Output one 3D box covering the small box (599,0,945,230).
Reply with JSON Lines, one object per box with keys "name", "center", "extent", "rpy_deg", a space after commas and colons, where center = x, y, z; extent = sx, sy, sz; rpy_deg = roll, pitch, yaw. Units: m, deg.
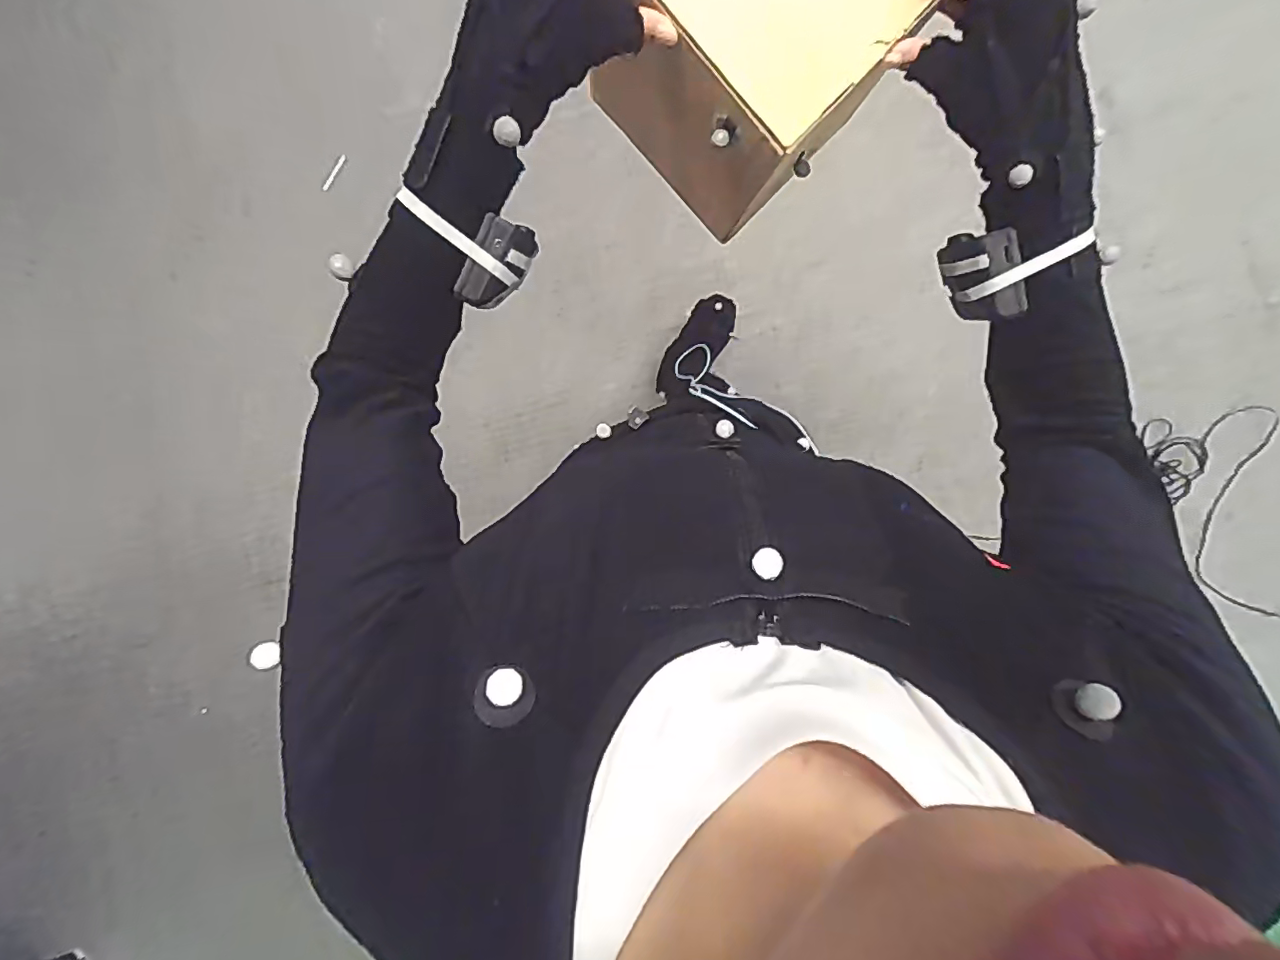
{"name": "small box", "center": [0.081, -0.331, 0.409], "extent": [0.168, 0.176, 0.179], "rpy_deg": [-45, 98, 0]}
